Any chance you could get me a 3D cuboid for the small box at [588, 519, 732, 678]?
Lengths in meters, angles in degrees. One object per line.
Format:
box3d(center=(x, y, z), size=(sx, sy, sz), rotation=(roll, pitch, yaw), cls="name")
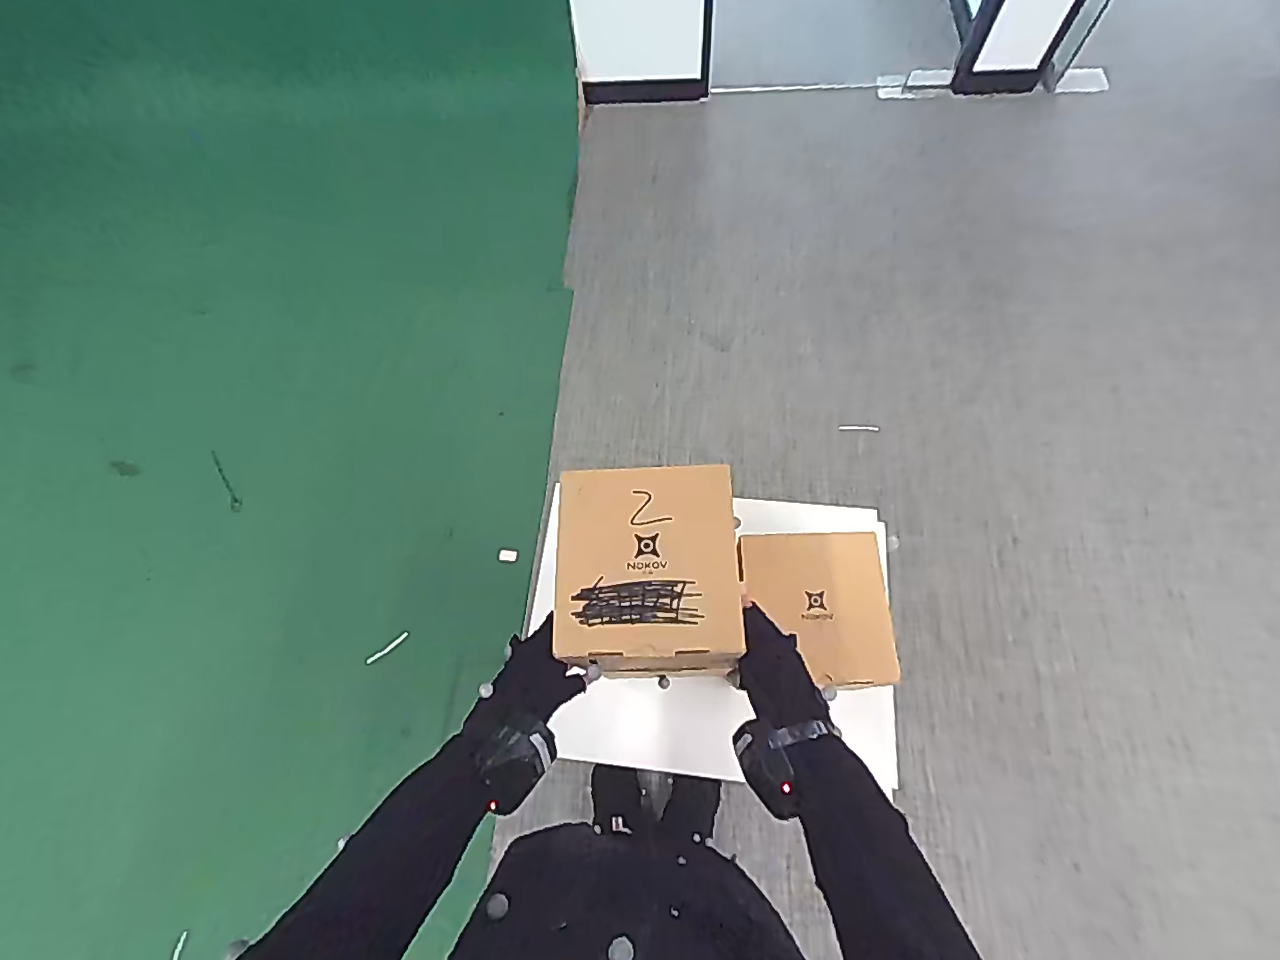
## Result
box3d(center=(0.026, 0.162, 0.714), size=(0.168, 0.176, 0.179), rotation=(-3, 67, 3), cls="small box")
